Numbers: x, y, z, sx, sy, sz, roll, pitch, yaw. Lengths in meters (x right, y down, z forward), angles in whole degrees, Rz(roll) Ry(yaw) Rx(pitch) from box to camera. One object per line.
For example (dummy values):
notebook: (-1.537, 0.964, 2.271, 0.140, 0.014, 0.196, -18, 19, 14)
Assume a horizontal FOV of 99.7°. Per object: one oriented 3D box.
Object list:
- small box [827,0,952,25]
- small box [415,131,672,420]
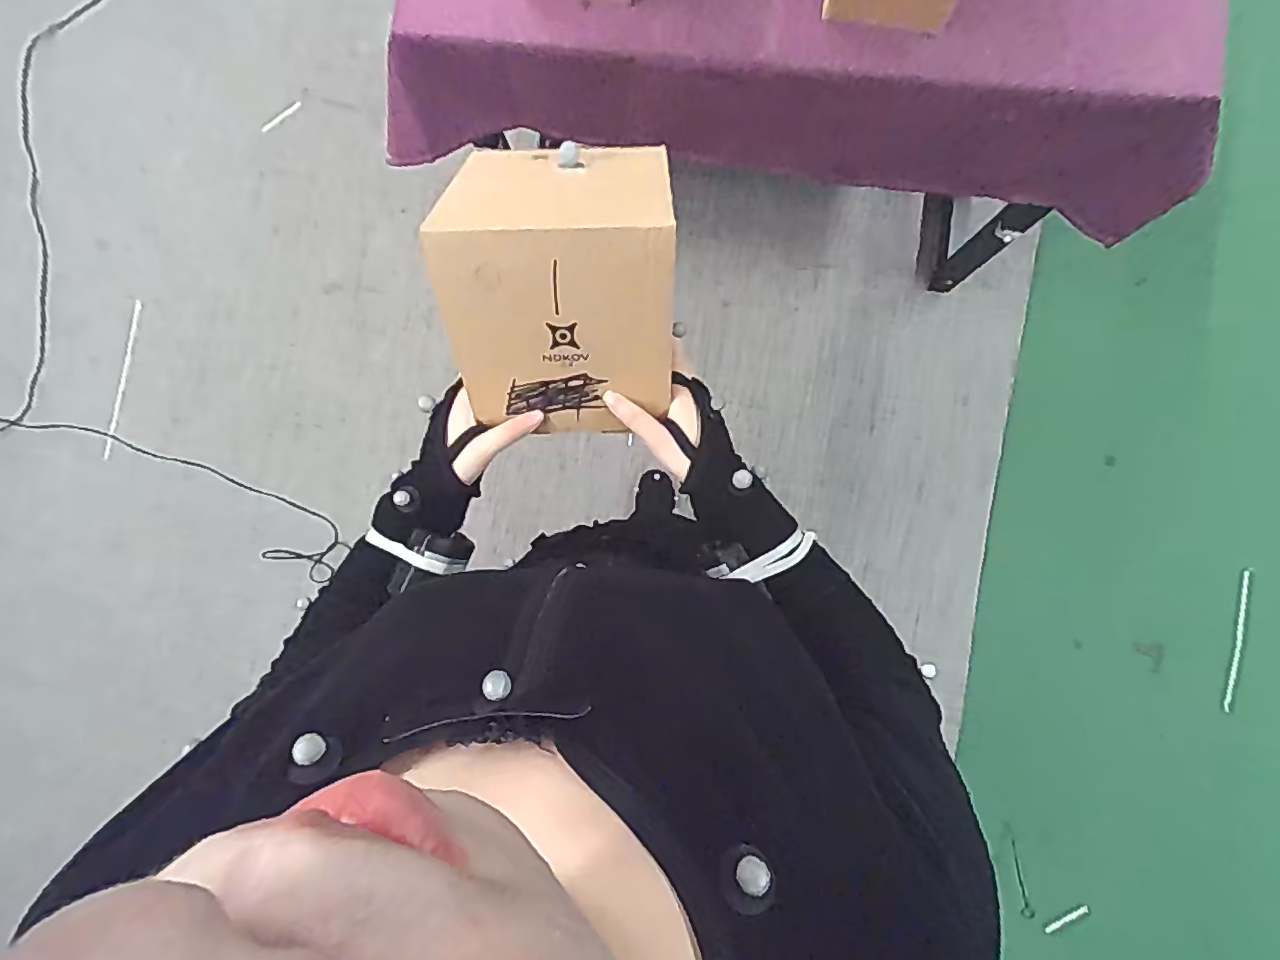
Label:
small box: (0.360, -0.745, 0.703, 0.179, 0.176, 0.168, 11, 88, 3)
small box: (-0.060, -0.169, 0.454, 0.168, 0.179, 0.176, -1, 46, 0)
